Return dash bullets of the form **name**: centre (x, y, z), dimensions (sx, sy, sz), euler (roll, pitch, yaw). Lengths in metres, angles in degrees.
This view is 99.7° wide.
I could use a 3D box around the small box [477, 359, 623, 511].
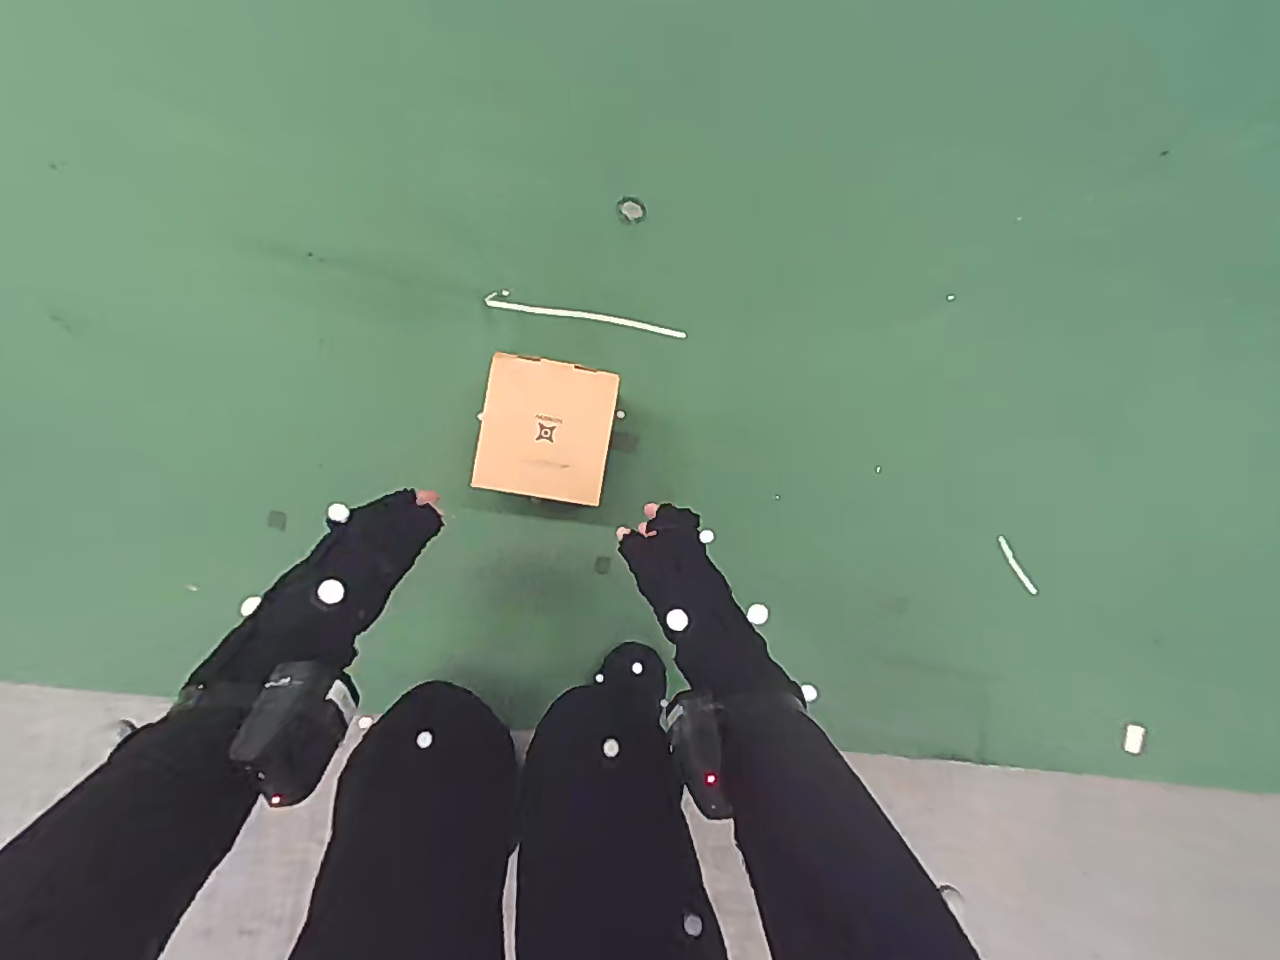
- **small box**: centre (-0.121, -0.058, 0.774), dimensions (0.168, 0.176, 0.179), euler (9, 91, -3)
